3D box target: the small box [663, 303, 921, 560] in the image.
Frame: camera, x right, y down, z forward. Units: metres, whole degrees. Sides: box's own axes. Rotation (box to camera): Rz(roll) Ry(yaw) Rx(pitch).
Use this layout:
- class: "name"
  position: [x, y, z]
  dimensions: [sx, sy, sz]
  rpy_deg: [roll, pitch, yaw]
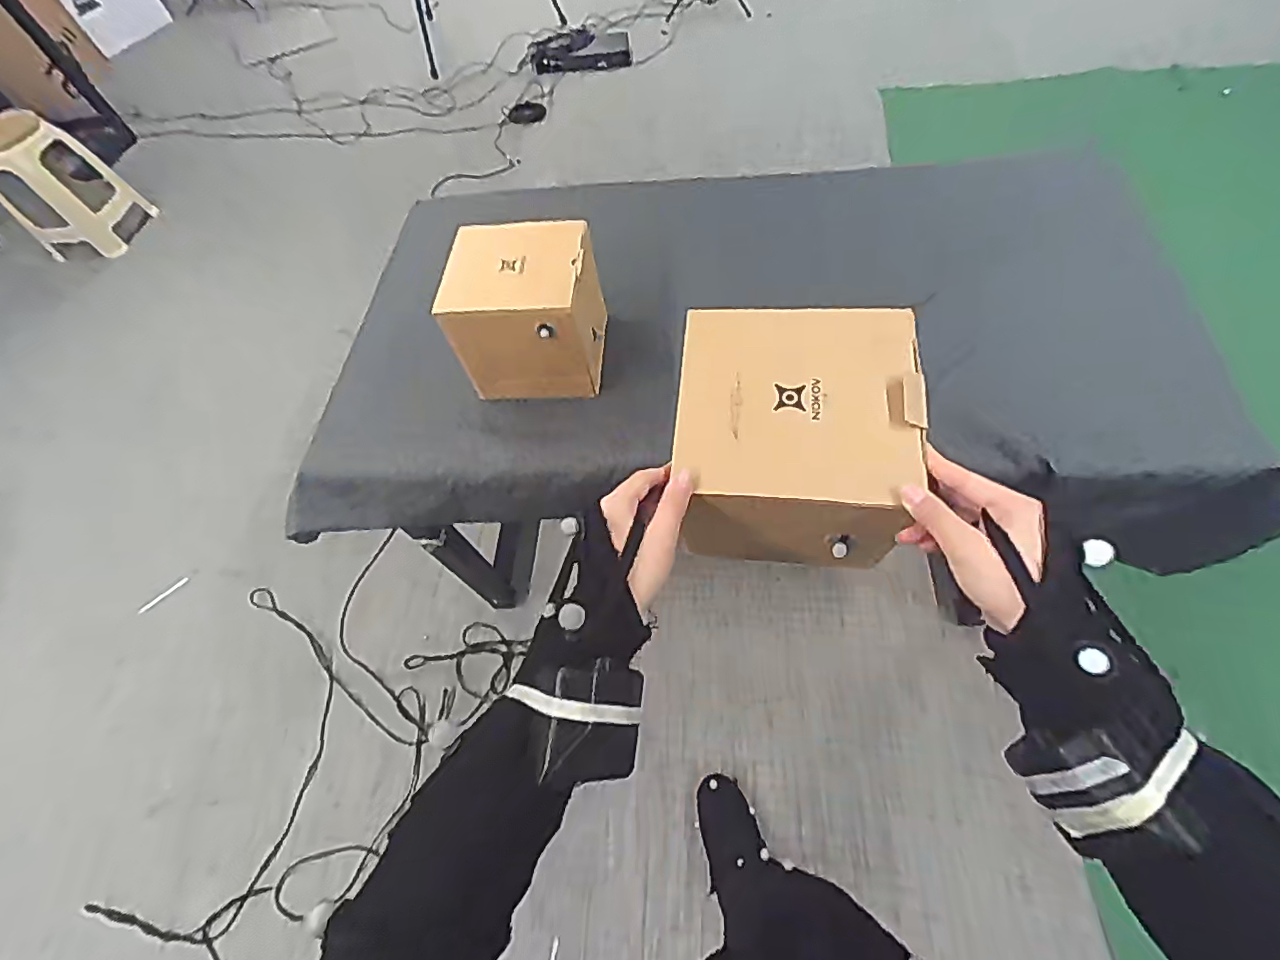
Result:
- class: "small box"
  position: [0.125, -0.032, 0.475]
  dimensions: [0.179, 0.176, 0.168]
  rpy_deg: [1, 66, 13]

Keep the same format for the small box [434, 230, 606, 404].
- class: "small box"
  position: [-0.153, -0.219, 0.754]
  dimensions: [0.179, 0.176, 0.168]
  rpy_deg: [-1, 59, 6]
